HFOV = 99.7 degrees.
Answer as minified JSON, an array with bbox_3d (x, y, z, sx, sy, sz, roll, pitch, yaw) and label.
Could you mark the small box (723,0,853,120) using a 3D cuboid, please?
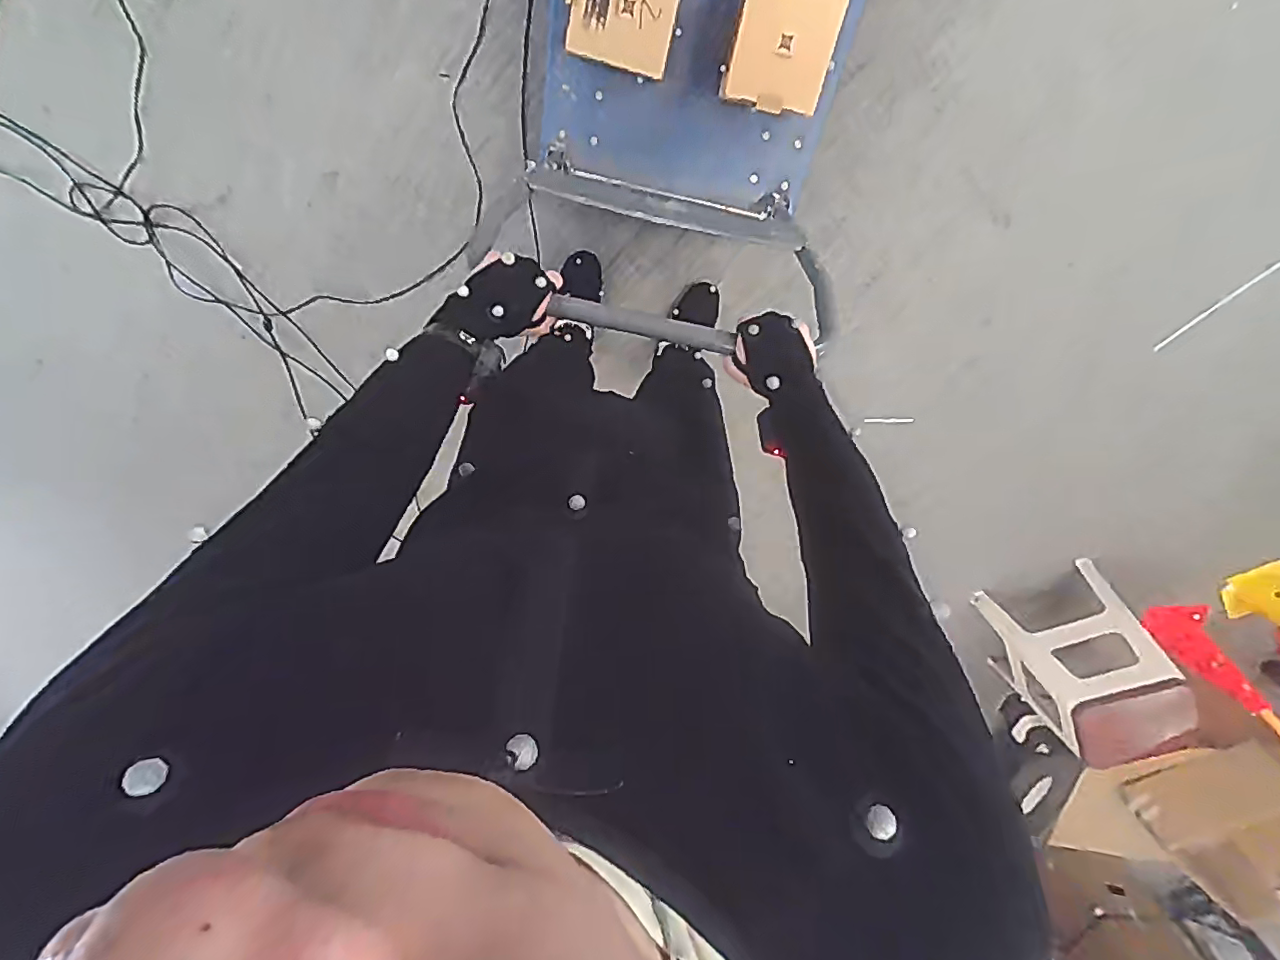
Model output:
[{"bbox_3d":[0.252,-0.773,0.972,0.168,0.176,0.179,11,126,-4],"label":"small box"}]
